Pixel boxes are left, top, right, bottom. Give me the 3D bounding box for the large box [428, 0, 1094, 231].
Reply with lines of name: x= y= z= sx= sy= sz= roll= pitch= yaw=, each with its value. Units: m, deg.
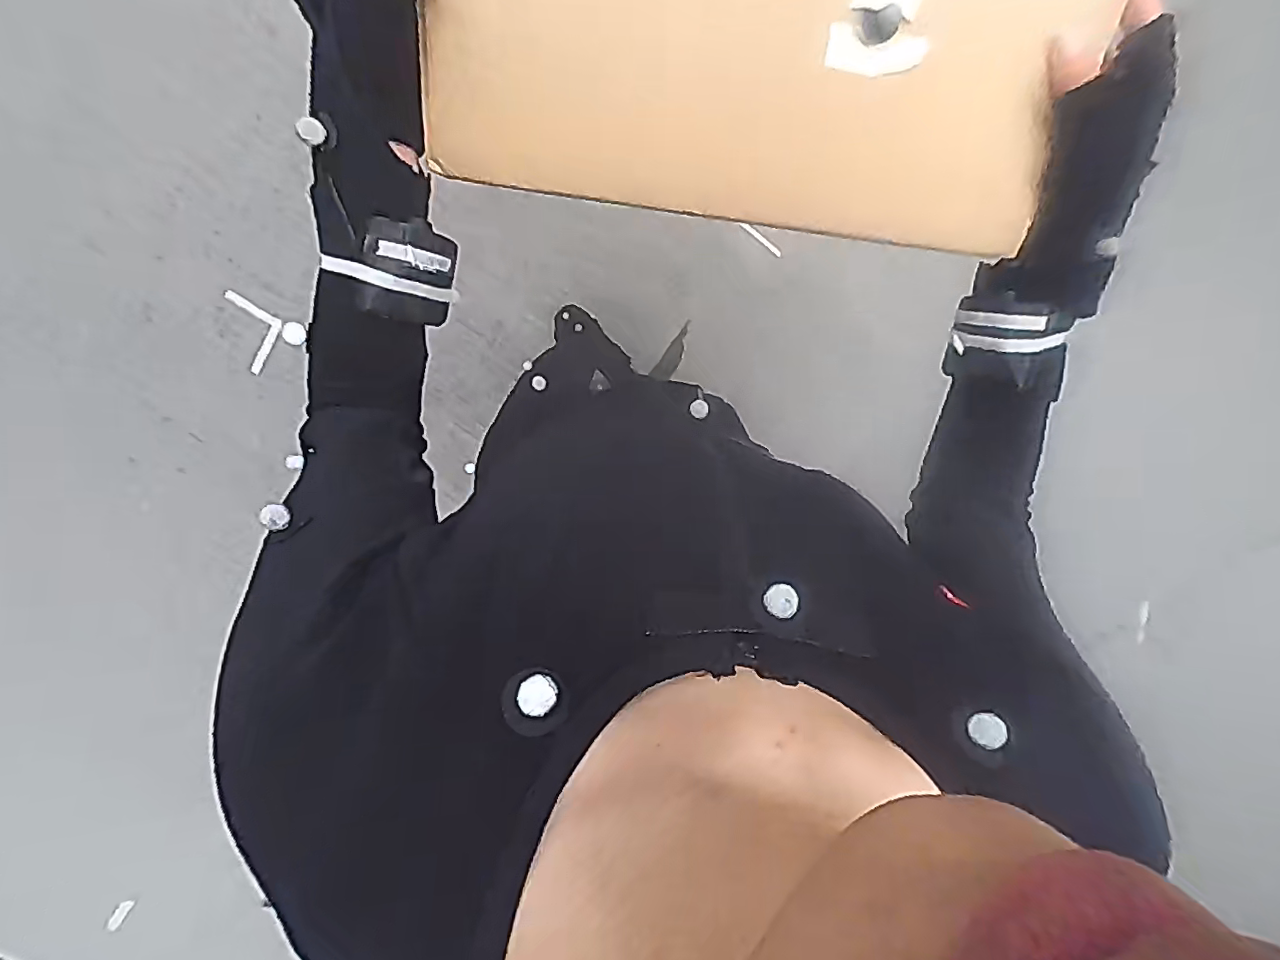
large box: x=0.074 y=-0.394 z=0.434 sx=0.408 sy=0.320 sz=0.320 roll=5 pitch=118 yaw=-3
